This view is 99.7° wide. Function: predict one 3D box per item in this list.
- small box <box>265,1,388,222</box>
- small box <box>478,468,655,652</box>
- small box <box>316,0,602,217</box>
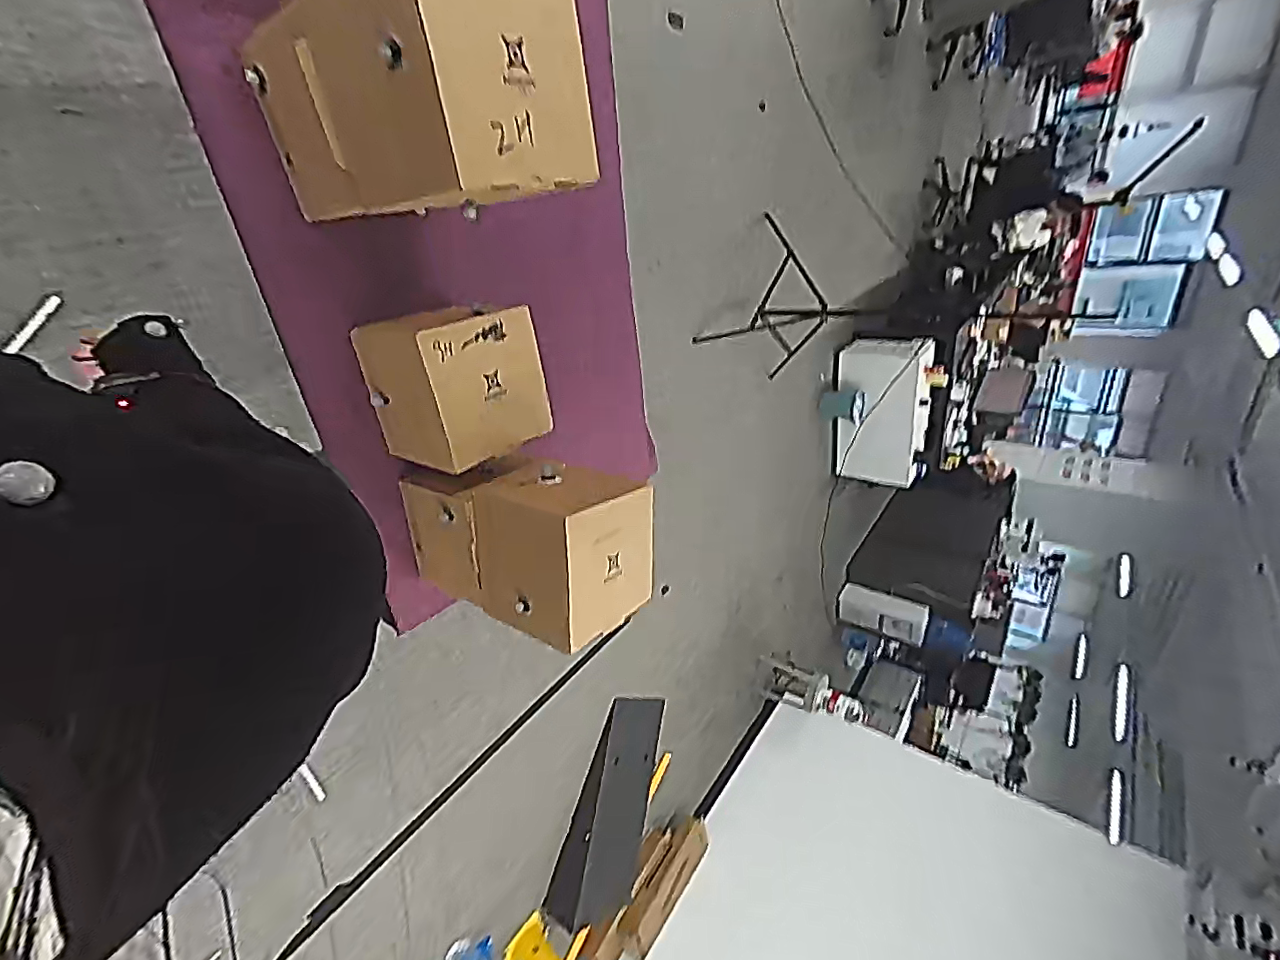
[{"bbox_3d":[-0.281,-0.394,0.605,0.179,0.176,0.168,-37,129,-41],"label":"small box"},{"bbox_3d":[-0.097,0.093,0.726,0.168,0.176,0.179,-21,116,-50],"label":"small box"},{"bbox_3d":[-0.160,-0.353,0.499,0.168,0.176,0.179,-34,127,-42],"label":"small box"}]
